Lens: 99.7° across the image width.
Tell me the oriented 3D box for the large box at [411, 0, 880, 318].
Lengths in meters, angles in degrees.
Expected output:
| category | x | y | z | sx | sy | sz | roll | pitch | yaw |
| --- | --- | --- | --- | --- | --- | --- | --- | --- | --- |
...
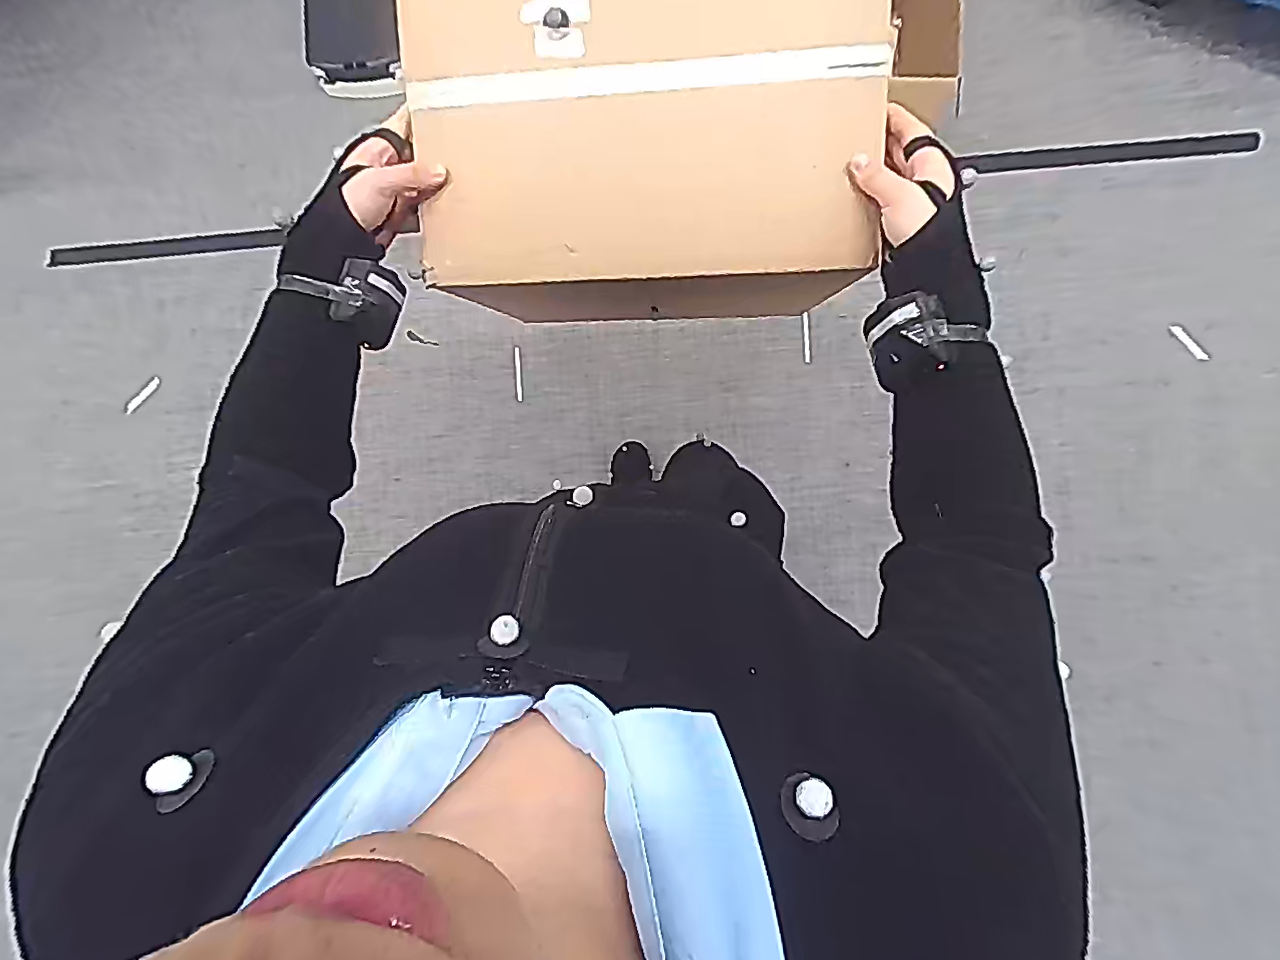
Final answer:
| category | x | y | z | sx | sy | sz | roll | pitch | yaw |
| --- | --- | --- | --- | --- | --- | --- | --- | --- | --- |
| large box | 0.016 | -0.366 | 0.610 | 0.408 | 0.320 | 0.320 | -1 | 99 | 6 |
